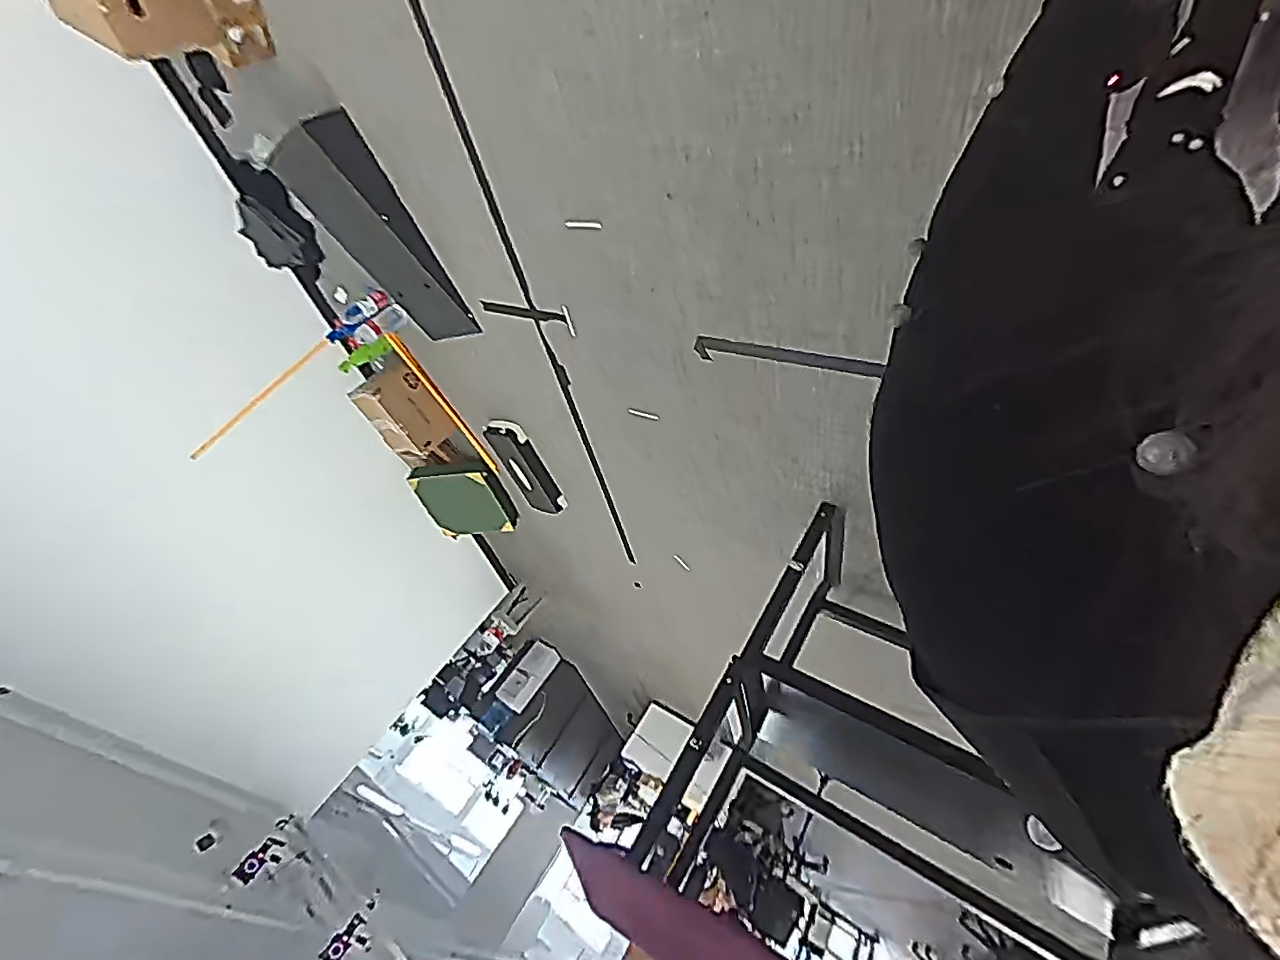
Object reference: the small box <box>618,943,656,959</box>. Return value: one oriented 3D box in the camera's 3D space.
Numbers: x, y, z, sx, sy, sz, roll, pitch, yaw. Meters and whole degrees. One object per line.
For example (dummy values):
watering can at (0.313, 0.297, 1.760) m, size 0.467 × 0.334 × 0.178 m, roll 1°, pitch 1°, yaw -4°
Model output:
small box at (0.004, 1.246, 1.284) m, size 0.179 × 0.176 × 0.168 m, roll 23°, pitch 147°, yaw 27°
